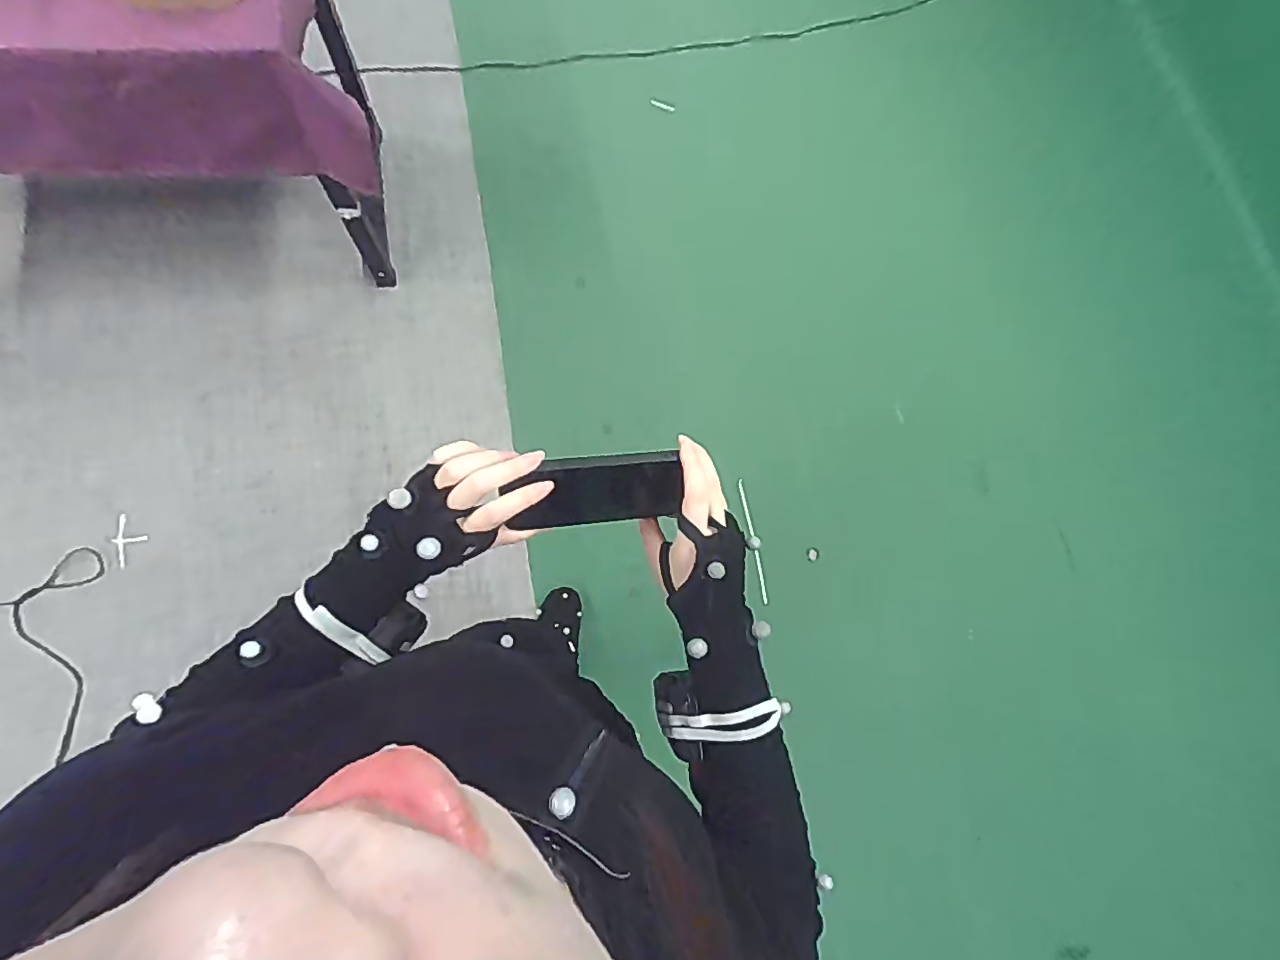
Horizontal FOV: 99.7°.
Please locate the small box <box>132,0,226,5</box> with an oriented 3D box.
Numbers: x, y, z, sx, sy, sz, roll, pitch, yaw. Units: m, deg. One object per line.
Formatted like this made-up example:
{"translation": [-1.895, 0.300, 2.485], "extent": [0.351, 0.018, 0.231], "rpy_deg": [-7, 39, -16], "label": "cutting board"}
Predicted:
{"translation": [-0.774, -0.906, 0.860], "extent": [0.179, 0.176, 0.168], "rpy_deg": [-8, 77, -11], "label": "small box"}
